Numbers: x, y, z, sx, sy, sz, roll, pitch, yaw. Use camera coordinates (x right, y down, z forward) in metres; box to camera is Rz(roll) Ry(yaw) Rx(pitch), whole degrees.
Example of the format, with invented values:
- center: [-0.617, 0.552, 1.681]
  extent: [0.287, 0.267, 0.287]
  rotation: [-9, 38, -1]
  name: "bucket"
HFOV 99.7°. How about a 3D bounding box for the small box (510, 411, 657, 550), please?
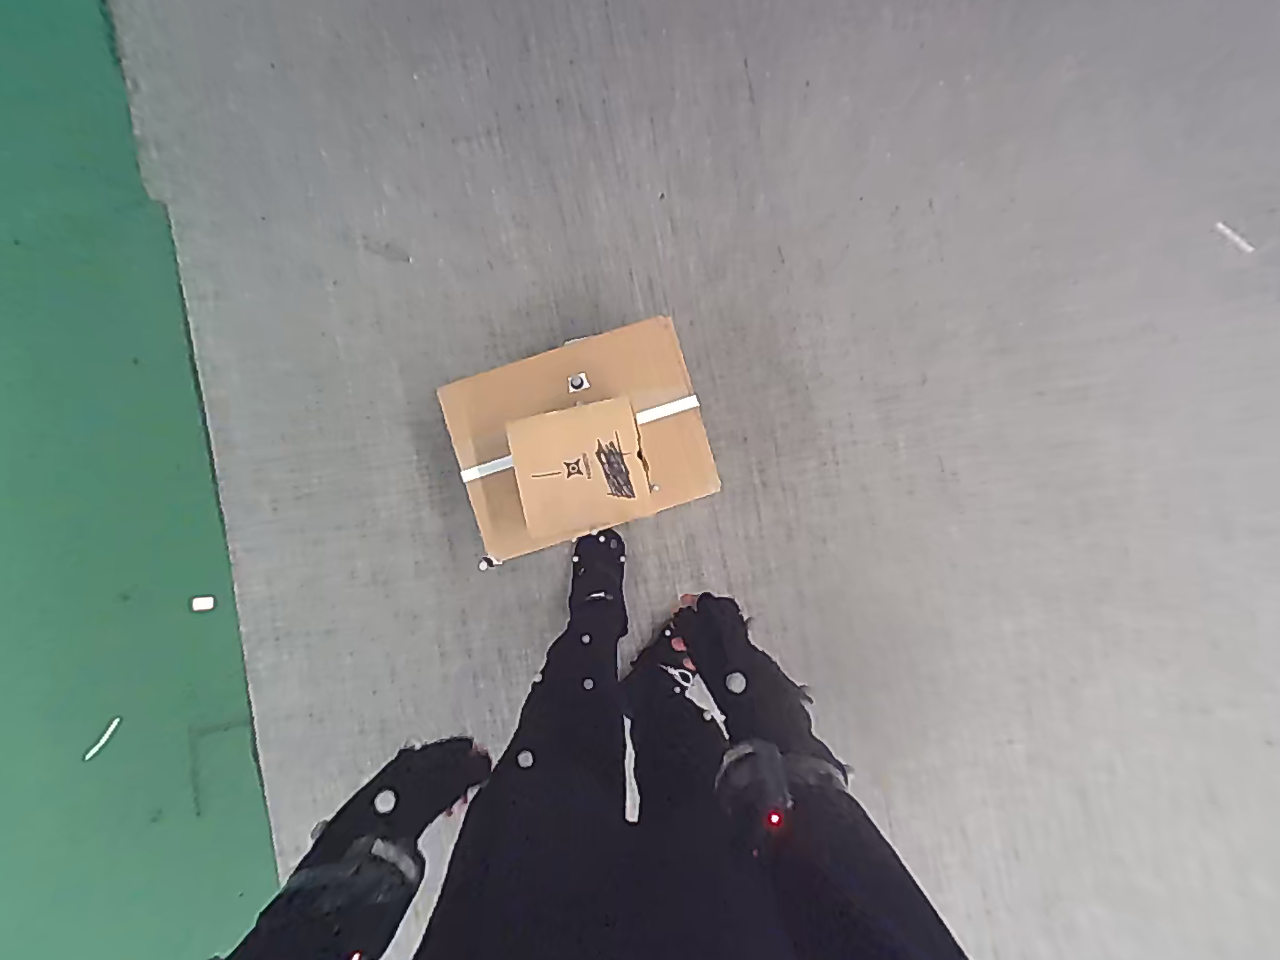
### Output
- center: [-0.077, 0.000, 0.815]
  extent: [0.179, 0.176, 0.168]
  rotation: [-12, 89, 2]
  name: "small box"
